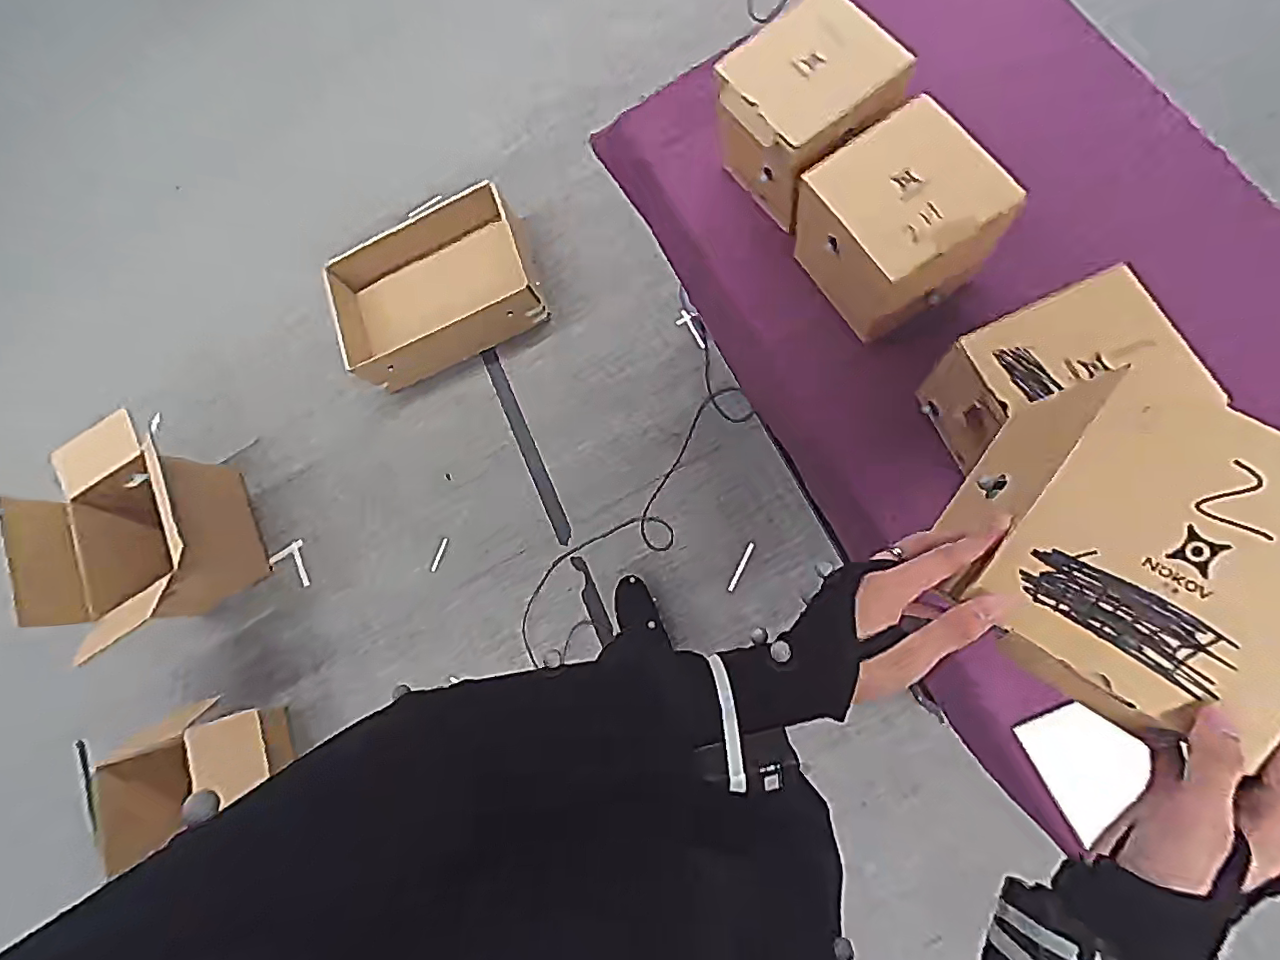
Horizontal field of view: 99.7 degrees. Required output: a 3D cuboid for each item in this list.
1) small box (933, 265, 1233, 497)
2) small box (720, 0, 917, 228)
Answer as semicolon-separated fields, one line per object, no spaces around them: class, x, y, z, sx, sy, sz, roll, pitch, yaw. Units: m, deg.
small box;0.459;-0.093;0.605;0.179;0.176;0.168;-25;75;7
small box;0.231;-0.488;0.733;0.179;0.176;0.168;-35;75;5
